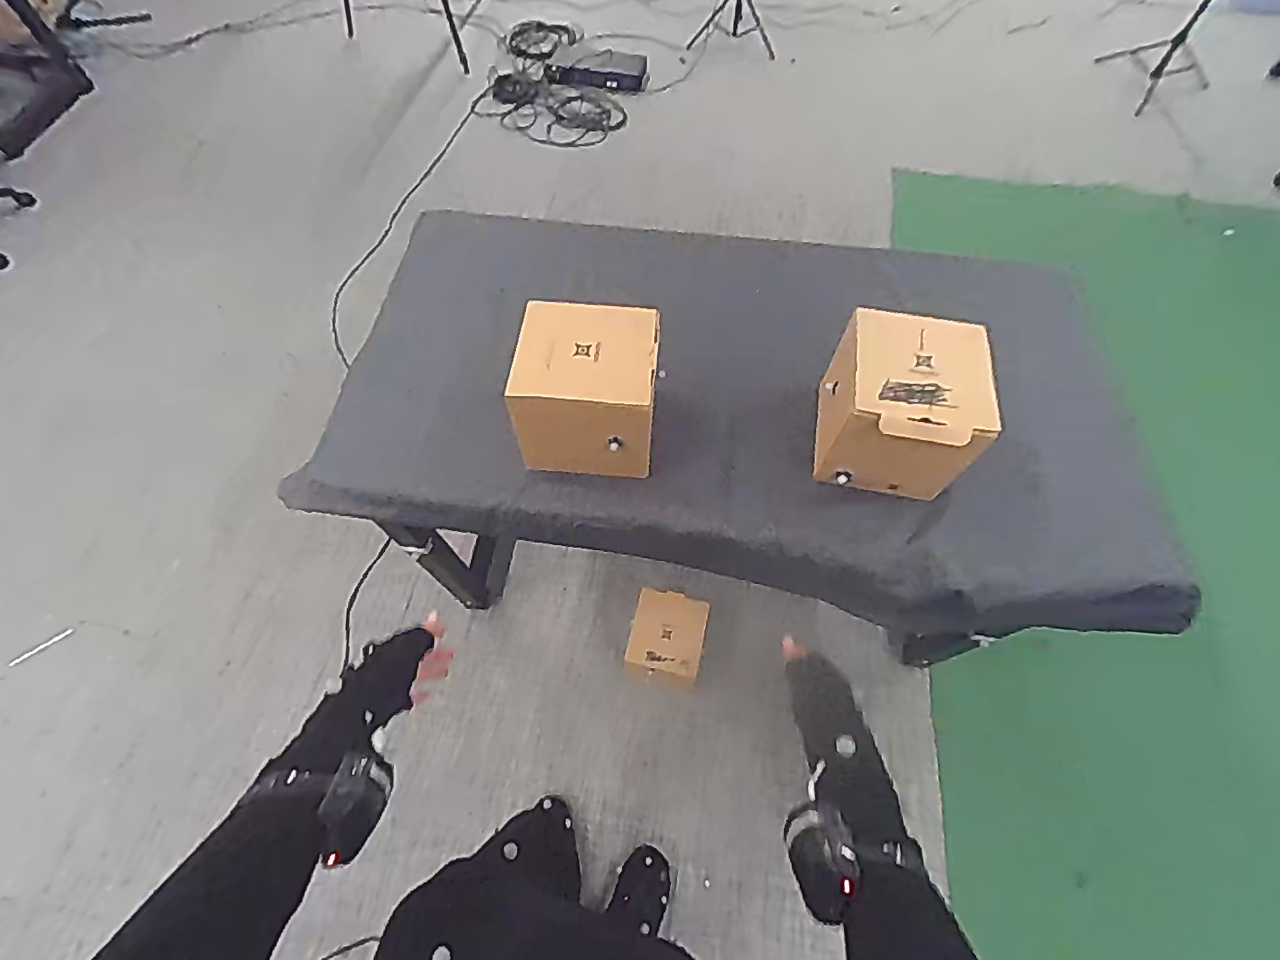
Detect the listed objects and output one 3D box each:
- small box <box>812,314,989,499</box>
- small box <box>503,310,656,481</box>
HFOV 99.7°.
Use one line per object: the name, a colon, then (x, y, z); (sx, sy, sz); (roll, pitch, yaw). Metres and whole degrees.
small box: (0.339, -0.093, 0.736); (0.168, 0.176, 0.179); (10, 61, 6)
small box: (-0.072, -0.110, 0.748); (0.179, 0.176, 0.168); (3, 59, 2)
